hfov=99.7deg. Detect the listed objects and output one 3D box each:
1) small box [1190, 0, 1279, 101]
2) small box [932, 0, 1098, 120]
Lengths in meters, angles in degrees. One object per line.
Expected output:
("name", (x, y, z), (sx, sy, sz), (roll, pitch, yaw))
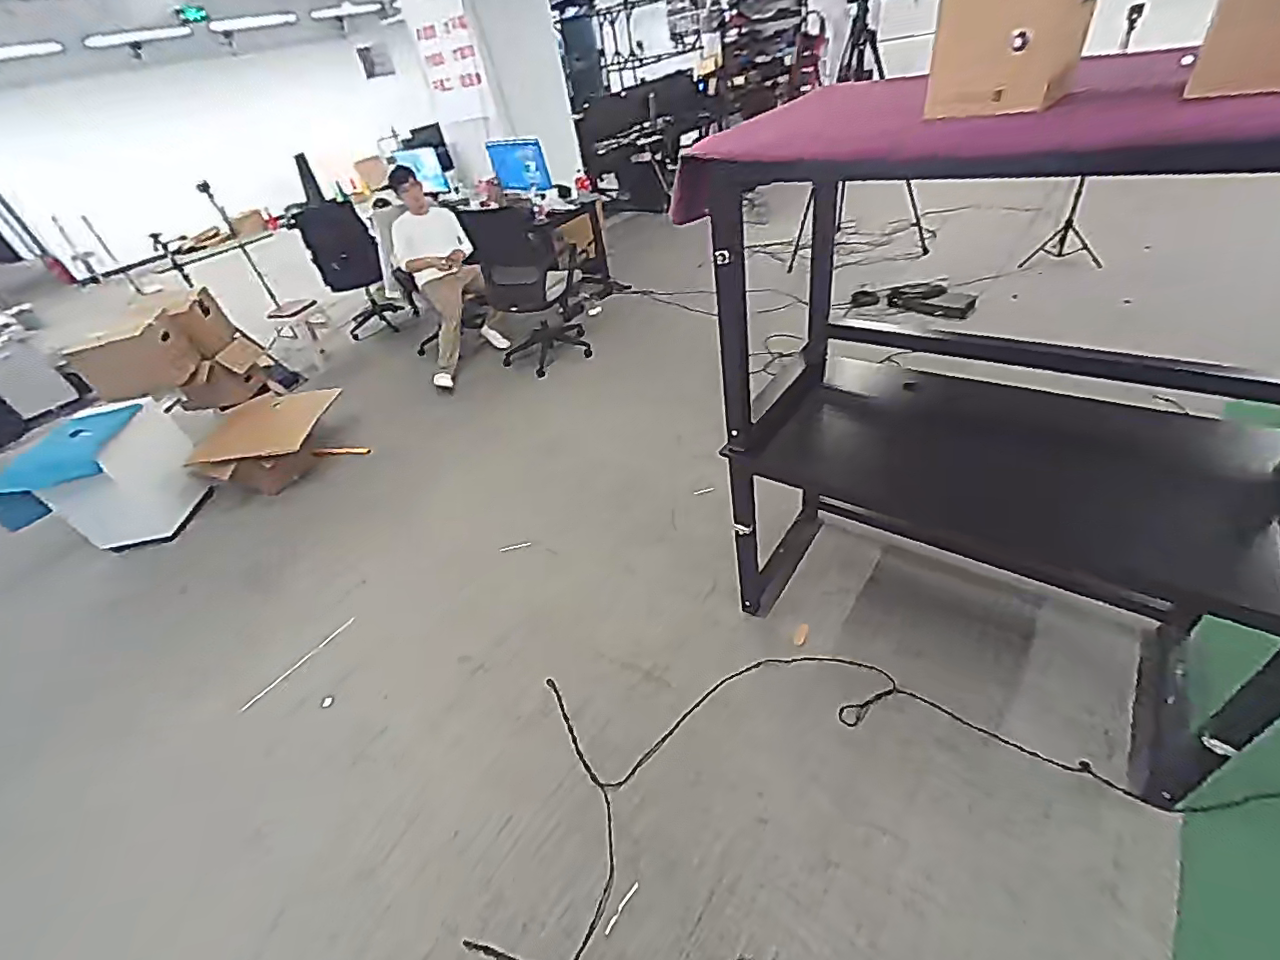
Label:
("small box", (0.811, -0.572, 0.649), (0.179, 0.176, 0.168), (20, 48, 33))
("small box", (0.568, -0.661, 0.824), (0.168, 0.176, 0.179), (26, 52, 37))
